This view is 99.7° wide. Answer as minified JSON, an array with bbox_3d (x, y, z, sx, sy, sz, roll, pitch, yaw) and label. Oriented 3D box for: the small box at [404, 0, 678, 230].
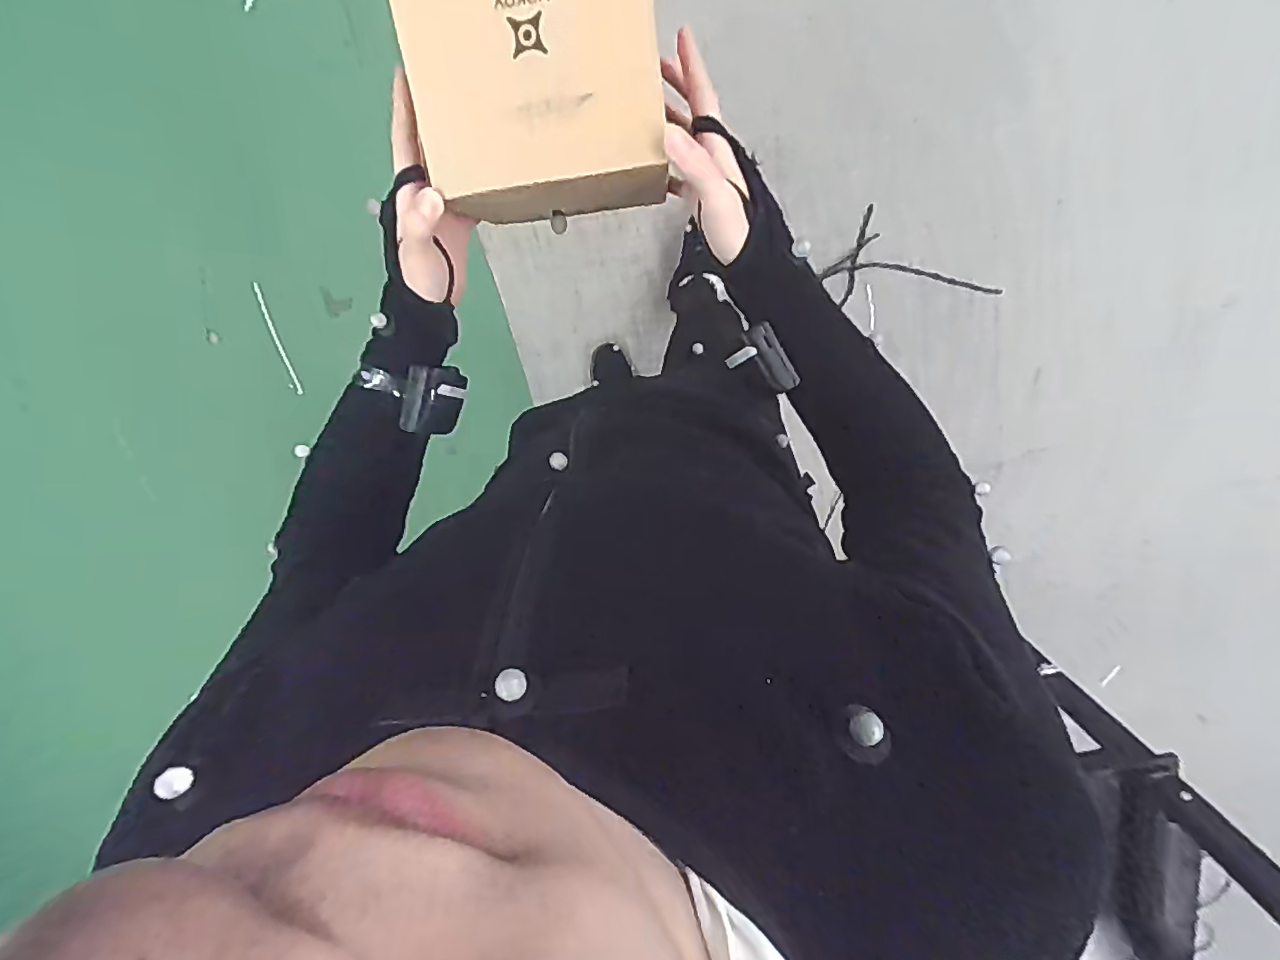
[{"bbox_3d":[-0.062,-0.307,0.417,0.168,0.176,0.179,-6,108,4],"label":"small box"}]
